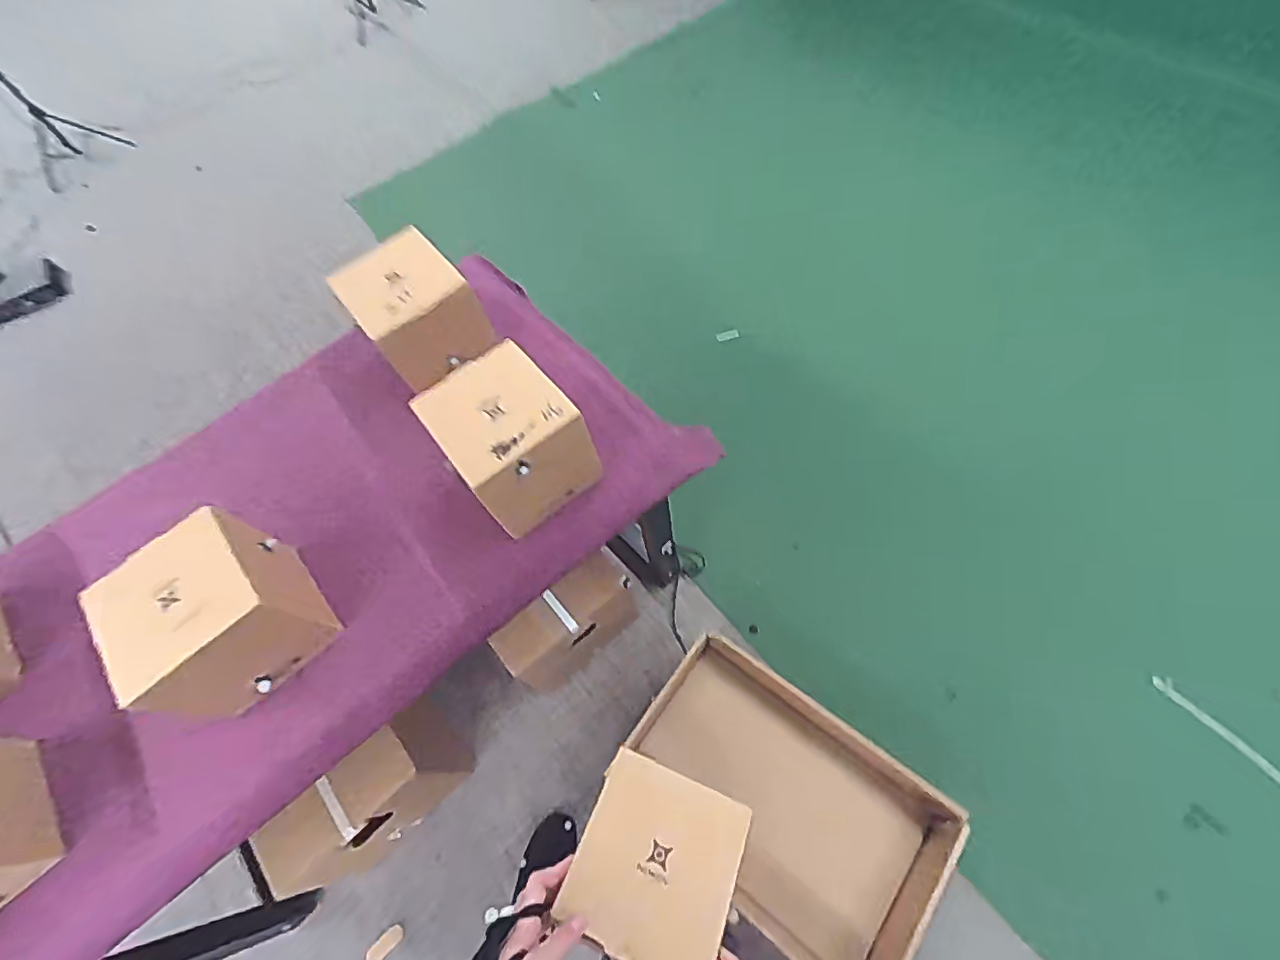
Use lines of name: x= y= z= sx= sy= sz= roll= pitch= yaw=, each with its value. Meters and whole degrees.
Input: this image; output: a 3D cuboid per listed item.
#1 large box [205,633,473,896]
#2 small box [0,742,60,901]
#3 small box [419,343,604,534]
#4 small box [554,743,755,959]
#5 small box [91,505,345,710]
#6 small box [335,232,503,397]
large box: x=-0.657 y=0.615 z=1.226 sx=0.320 sy=0.320 sz=0.408 roll=-40 pitch=64 yaw=-16
small box: x=-0.813 y=0.409 z=0.597 sx=0.168 sy=0.176 sz=0.179 roll=-40 pitch=64 yaw=-15
small box: x=-0.174 y=-0.054 z=0.775 sx=0.168 sy=0.176 sz=0.179 roll=-37 pitch=62 yaw=-11
small box: x=0.014 y=0.442 z=0.619 sx=0.168 sy=0.176 sz=0.179 roll=20 pitch=52 yaw=11
small box: x=-0.529 y=0.171 z=0.697 sx=0.168 sy=0.176 sz=0.179 roll=-40 pitch=65 yaw=-14
small box: x=-0.361 y=-0.270 z=0.909 sx=0.168 sy=0.176 sz=0.179 roll=-38 pitch=66 yaw=-11
